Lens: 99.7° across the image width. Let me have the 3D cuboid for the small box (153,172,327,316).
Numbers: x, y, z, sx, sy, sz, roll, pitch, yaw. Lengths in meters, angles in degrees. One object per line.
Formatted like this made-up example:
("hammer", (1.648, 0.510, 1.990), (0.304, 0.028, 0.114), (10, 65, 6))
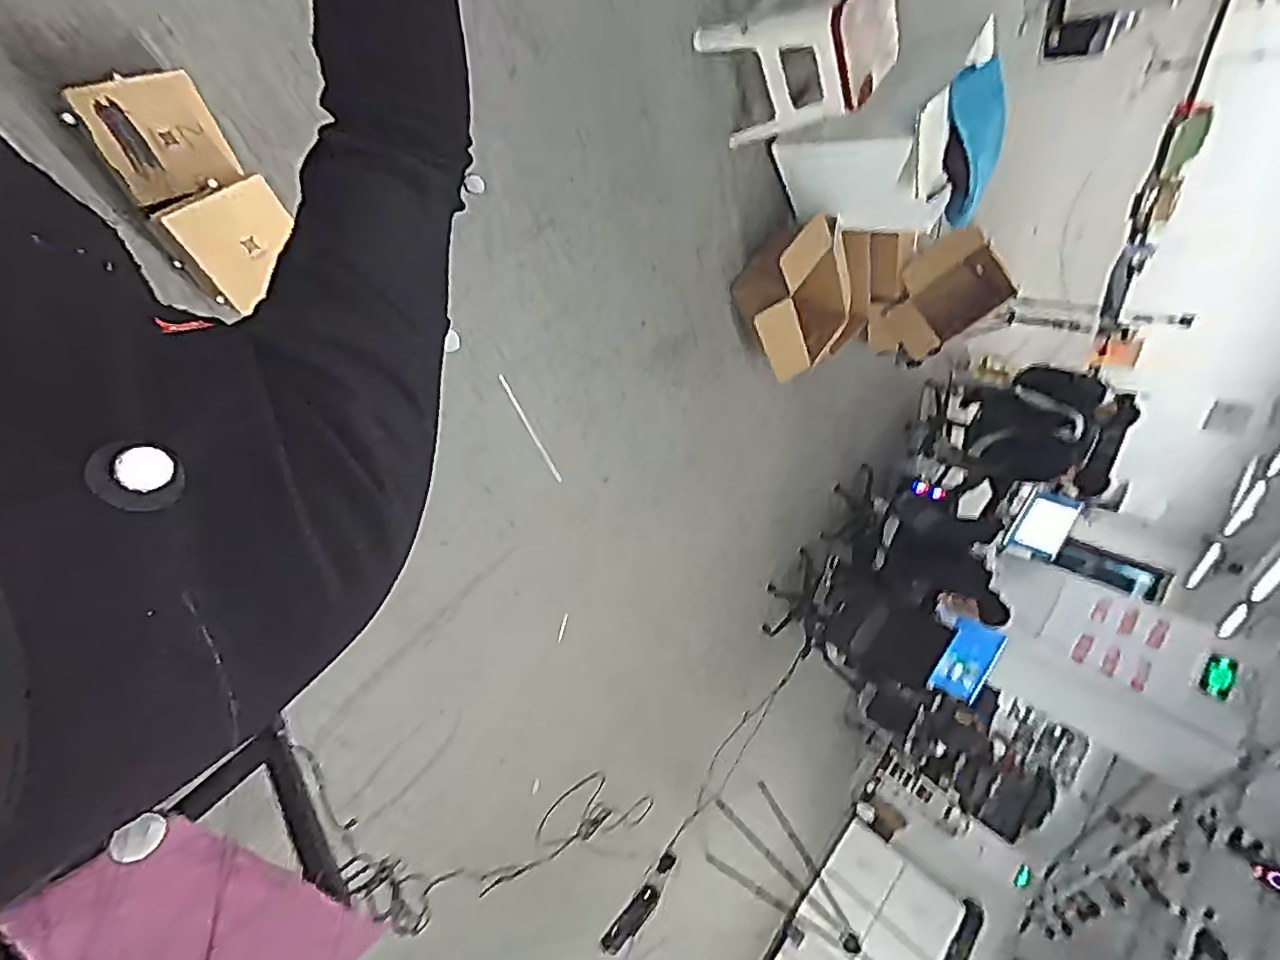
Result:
("small box", (-0.707, -0.418, 0.957), (0.168, 0.176, 0.179), (-44, 136, -22))
